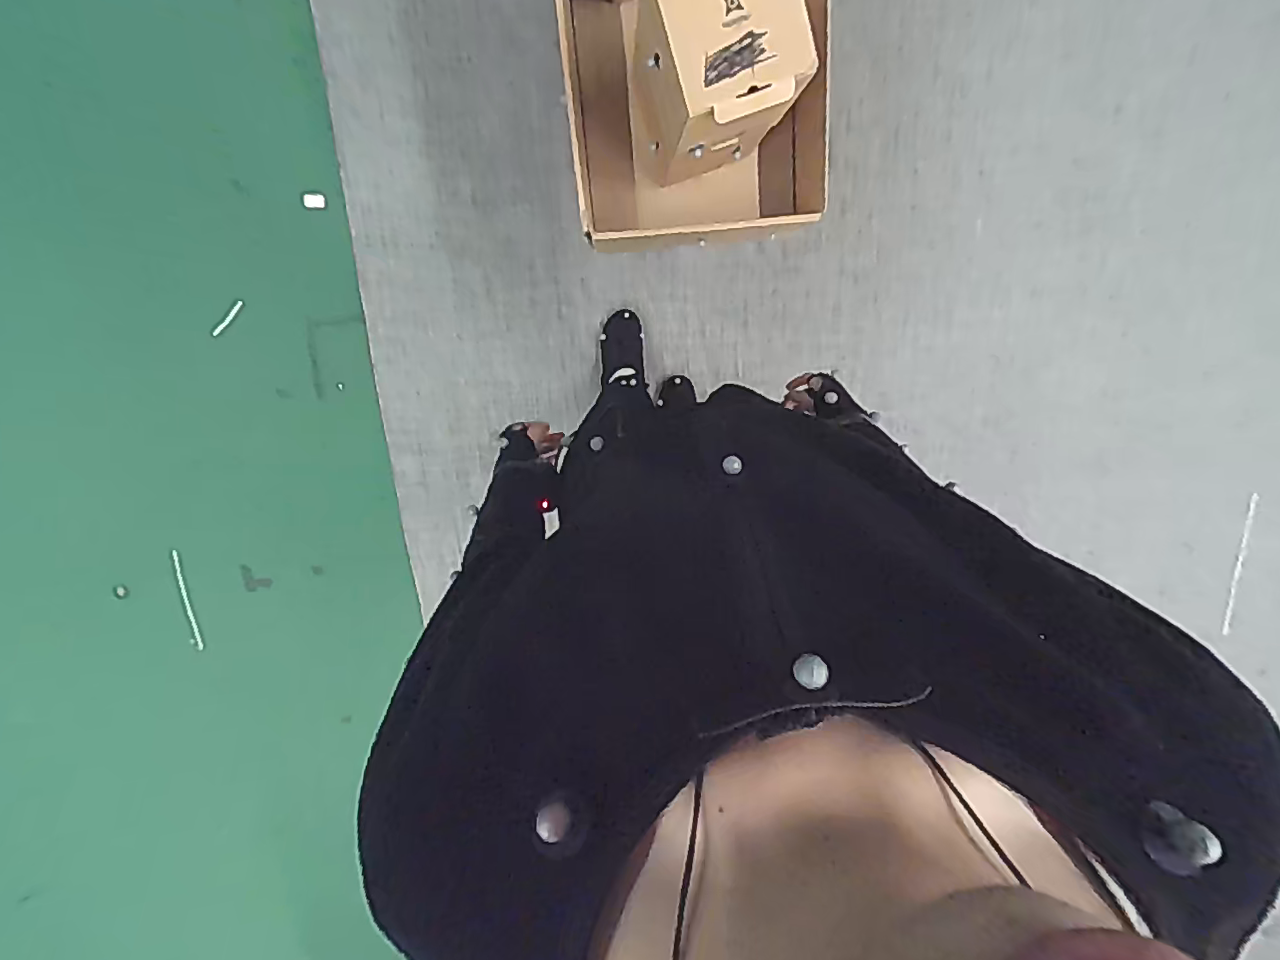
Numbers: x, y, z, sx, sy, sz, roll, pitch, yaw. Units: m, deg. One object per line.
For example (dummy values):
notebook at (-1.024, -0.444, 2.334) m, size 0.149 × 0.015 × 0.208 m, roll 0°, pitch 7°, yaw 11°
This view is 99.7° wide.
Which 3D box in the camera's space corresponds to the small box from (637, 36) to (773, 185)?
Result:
small box at (0.098, -0.598, 0.867) m, size 0.168 × 0.176 × 0.179 m, roll -18°, pitch 104°, yaw 2°

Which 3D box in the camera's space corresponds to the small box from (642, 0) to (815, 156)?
small box at (0.106, -0.555, 0.709) m, size 0.168 × 0.176 × 0.179 m, roll -18°, pitch 103°, yaw 1°
